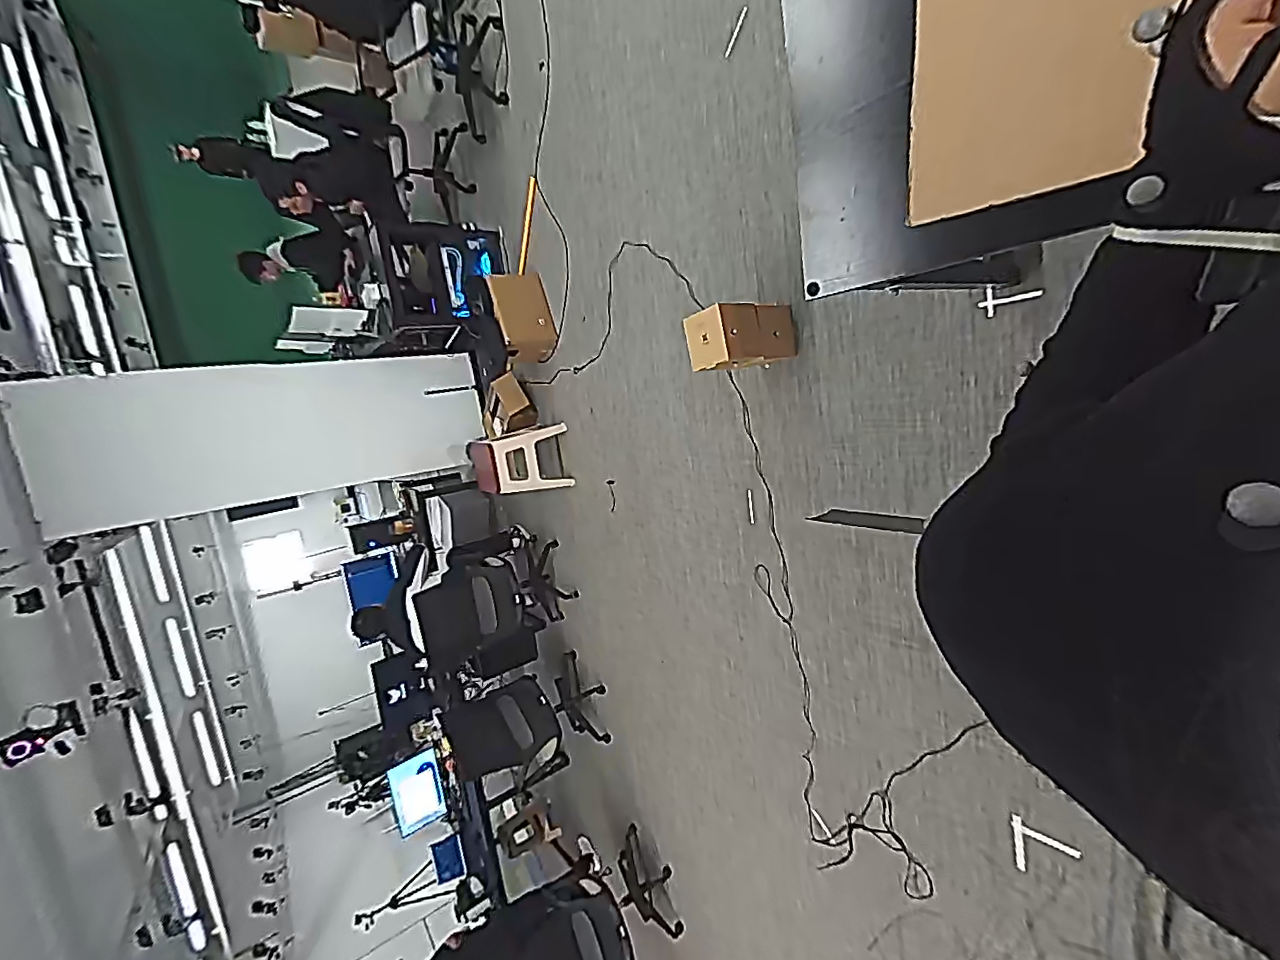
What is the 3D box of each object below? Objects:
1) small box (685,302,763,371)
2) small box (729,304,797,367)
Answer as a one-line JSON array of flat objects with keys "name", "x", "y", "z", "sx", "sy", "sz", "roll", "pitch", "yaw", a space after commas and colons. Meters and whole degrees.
[{"name": "small box", "x": 0.272, "y": -0.458, "z": 1.728, "sx": 0.168, "sy": 0.176, "sz": 0.179, "roll": -7, "pitch": 94, "yaw": 54}, {"name": "small box", "x": 0.404, "y": -0.483, "z": 1.820, "sx": 0.168, "sy": 0.176, "sz": 0.179, "roll": -1, "pitch": 101, "yaw": 55}]
